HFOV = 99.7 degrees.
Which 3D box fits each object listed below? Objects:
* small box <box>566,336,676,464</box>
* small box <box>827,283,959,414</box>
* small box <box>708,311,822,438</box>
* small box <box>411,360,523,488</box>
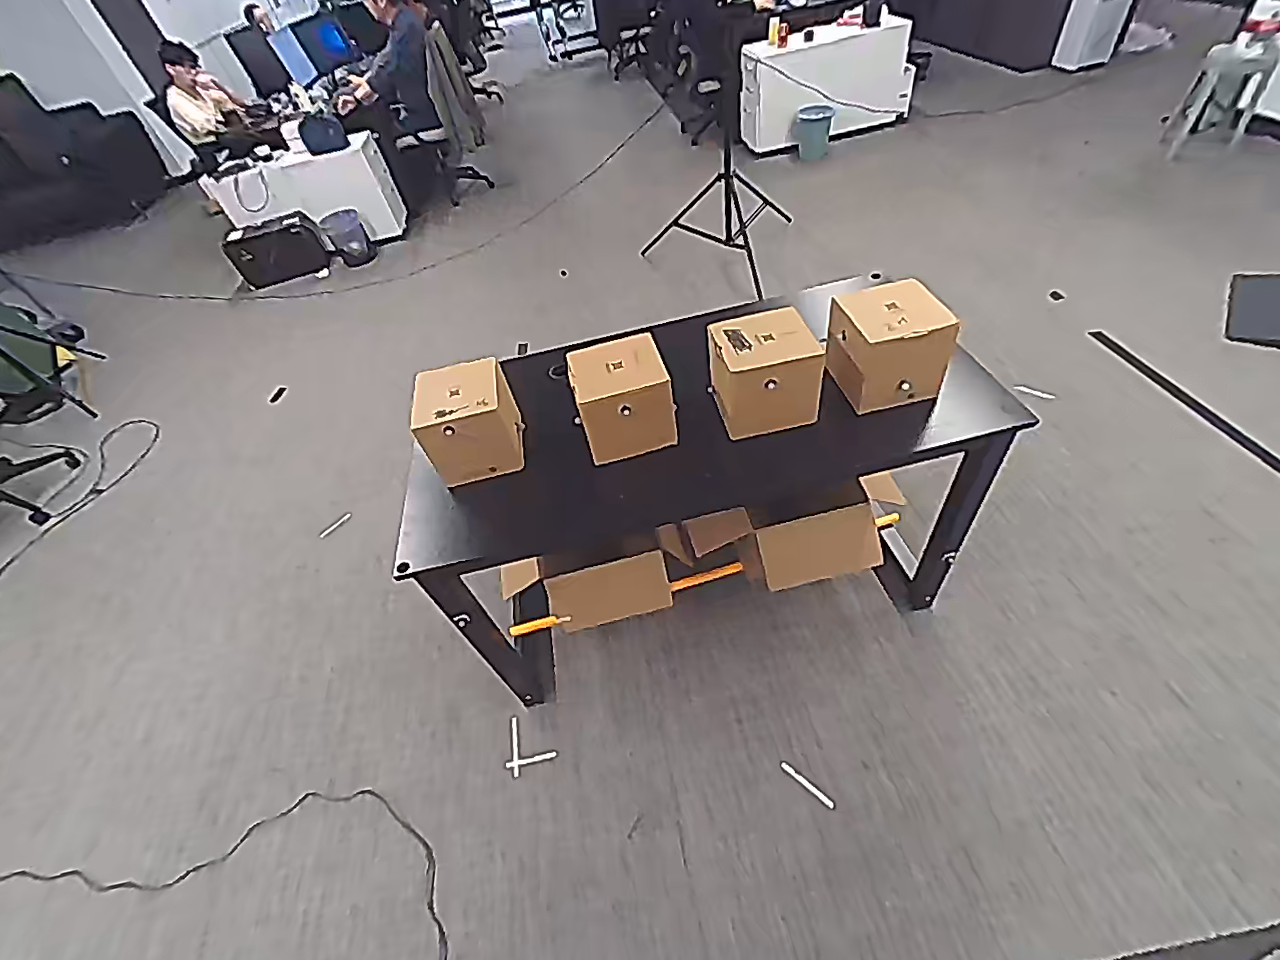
[{"bbox_3d":[-0.035,-0.155,1.079,0.179,0.176,0.168,-15,48,-3],"label":"small box"},{"bbox_3d":[0.480,-0.256,1.060,0.168,0.176,0.179,-13,47,1],"label":"small box"},{"bbox_3d":[0.240,-0.202,1.061,0.179,0.176,0.168,-12,47,1],"label":"small box"},{"bbox_3d":[-0.342,-0.113,1.100,0.168,0.176,0.179,-14,47,-2],"label":"small box"}]
